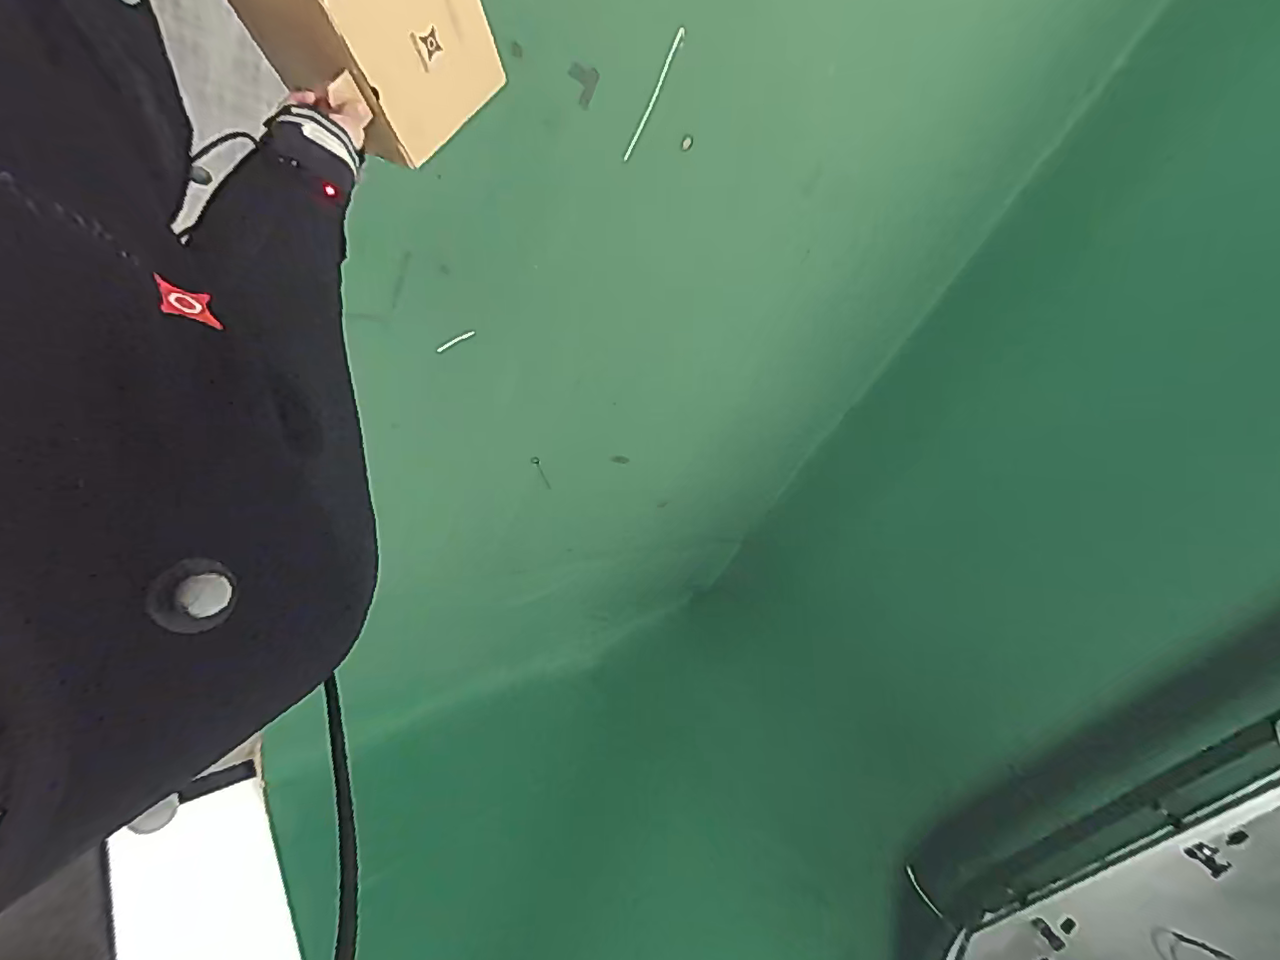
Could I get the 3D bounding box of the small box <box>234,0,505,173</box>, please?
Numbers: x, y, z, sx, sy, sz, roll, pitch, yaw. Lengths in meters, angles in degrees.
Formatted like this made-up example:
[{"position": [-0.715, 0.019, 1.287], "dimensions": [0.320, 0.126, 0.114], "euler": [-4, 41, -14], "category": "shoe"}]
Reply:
[{"position": [-0.285, -0.475, 0.578], "dimensions": [0.179, 0.176, 0.168], "euler": [-58, 162, -16], "category": "small box"}]
